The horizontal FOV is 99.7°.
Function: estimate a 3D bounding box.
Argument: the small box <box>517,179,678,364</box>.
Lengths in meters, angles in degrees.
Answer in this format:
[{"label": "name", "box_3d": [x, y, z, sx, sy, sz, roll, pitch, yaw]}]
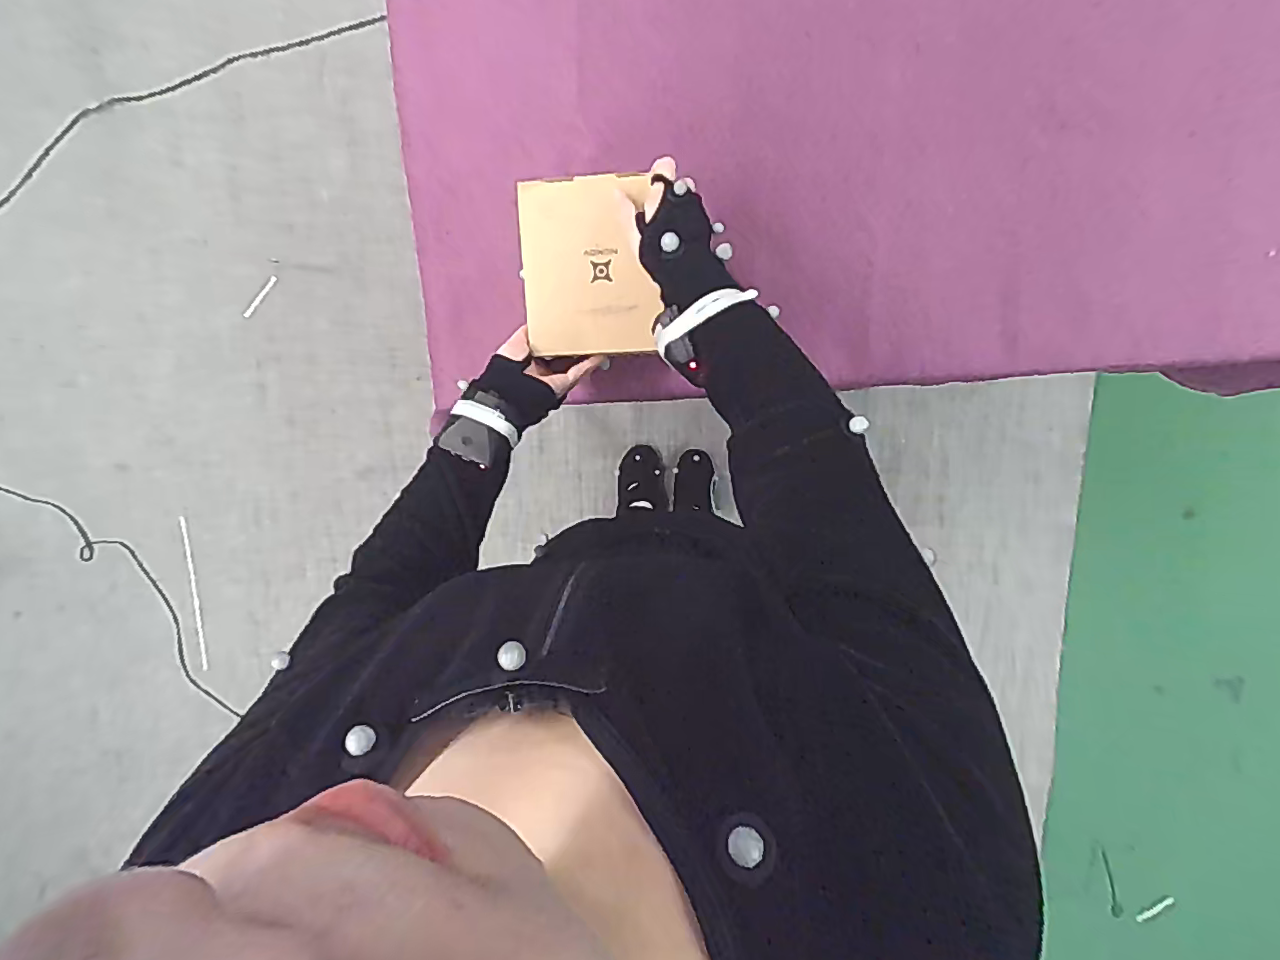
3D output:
[{"label": "small box", "box_3d": [-0.039, -0.232, 0.642, 0.168, 0.176, 0.179, -1, 101, 4]}]
